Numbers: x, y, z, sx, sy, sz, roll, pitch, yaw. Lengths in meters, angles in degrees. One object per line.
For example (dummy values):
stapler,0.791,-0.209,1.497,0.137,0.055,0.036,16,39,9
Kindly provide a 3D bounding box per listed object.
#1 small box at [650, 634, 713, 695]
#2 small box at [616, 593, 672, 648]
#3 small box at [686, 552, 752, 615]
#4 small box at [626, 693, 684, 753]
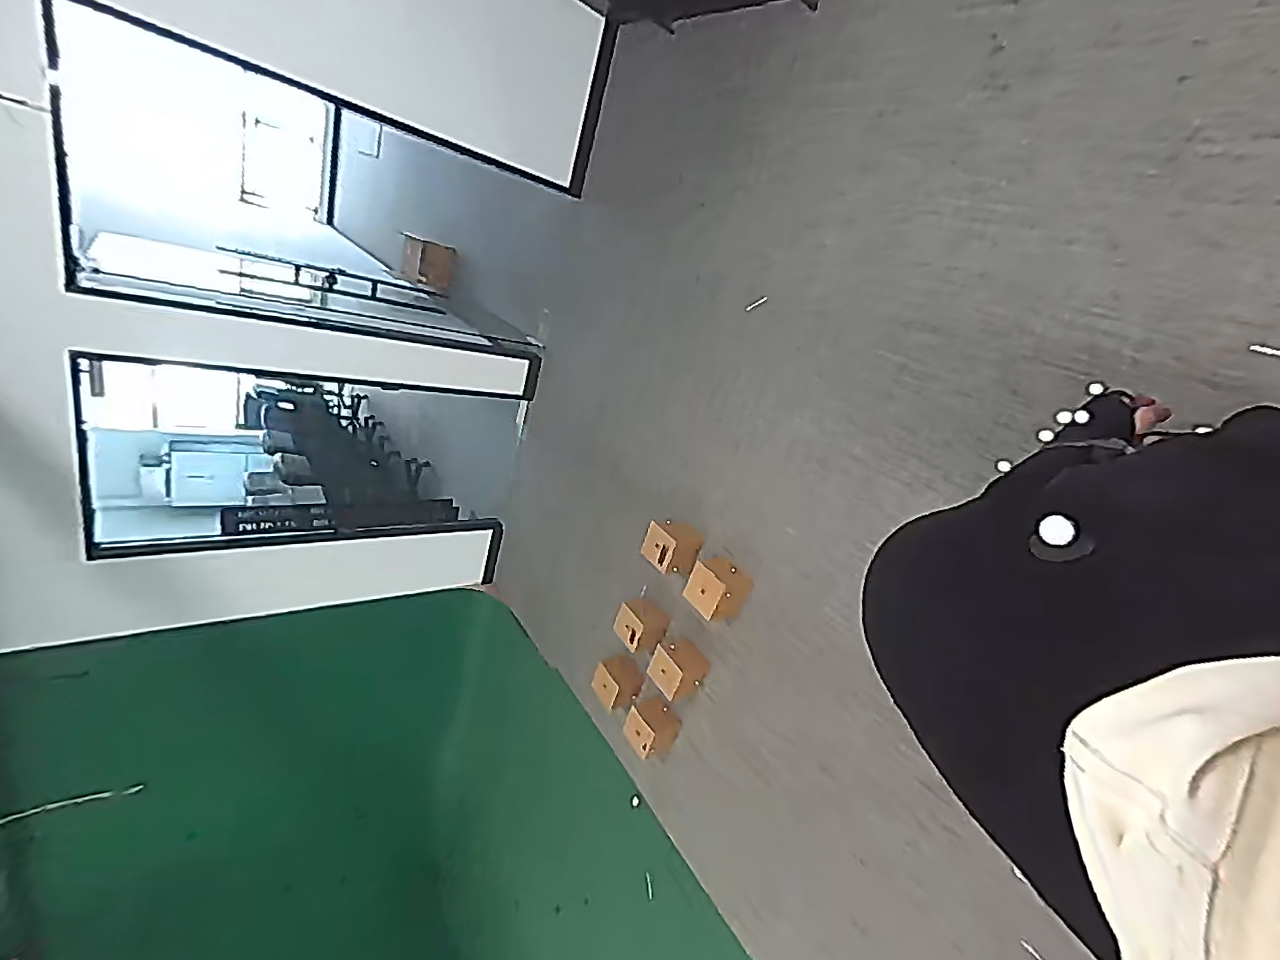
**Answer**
small box,0.177,0.779,2.311,0.179,0.176,0.168,41,122,42
small box,0.022,0.642,2.496,0.179,0.176,0.168,42,122,42
small box,0.315,0.405,2.138,0.168,0.176,0.179,42,121,42
small box,0.068,1.091,2.448,0.179,0.176,0.168,41,121,44
